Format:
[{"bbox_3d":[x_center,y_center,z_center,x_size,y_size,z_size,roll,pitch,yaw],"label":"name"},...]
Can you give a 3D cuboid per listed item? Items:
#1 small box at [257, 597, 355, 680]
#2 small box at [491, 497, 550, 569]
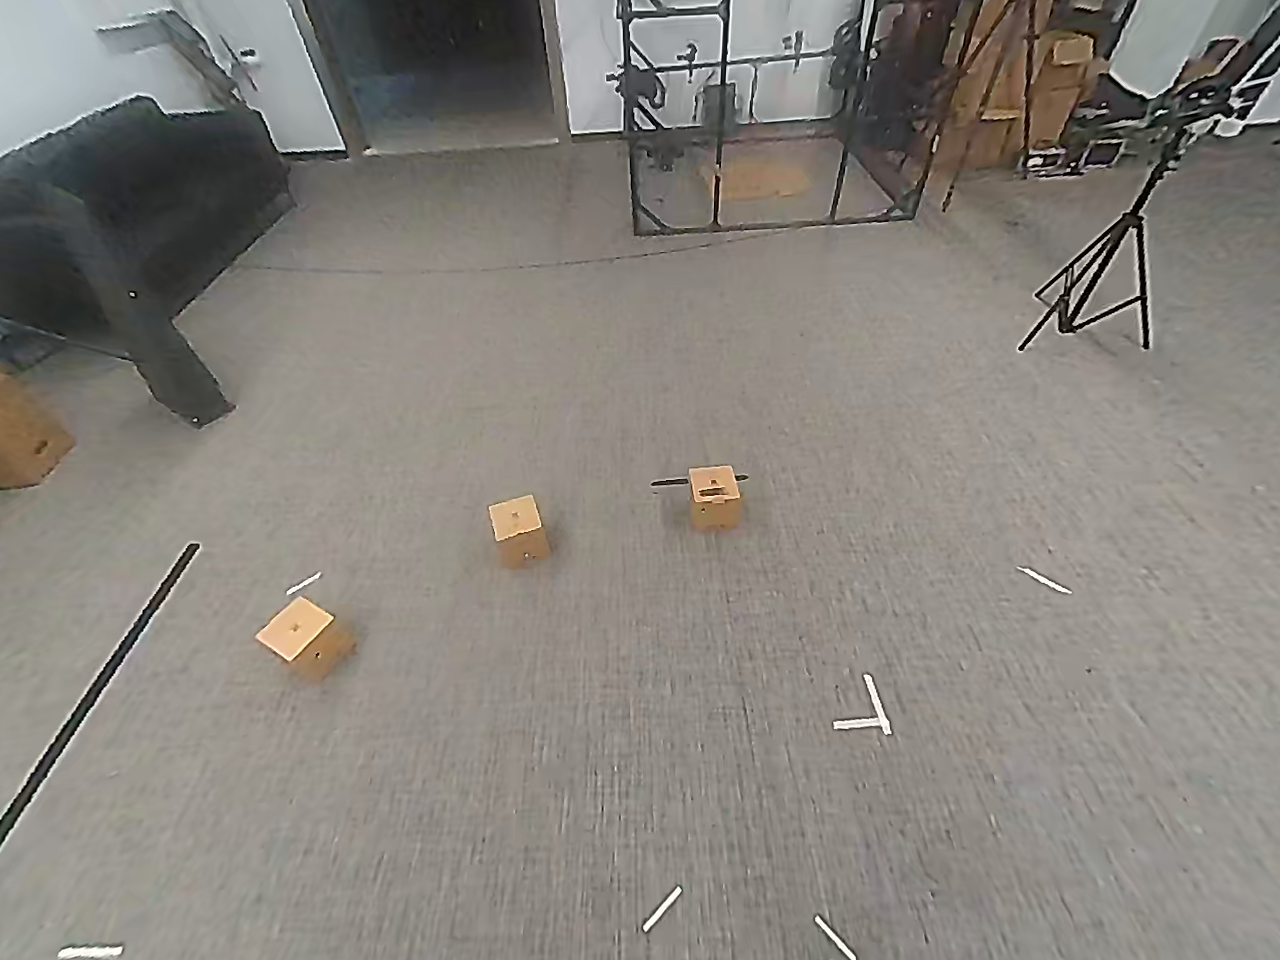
[{"bbox_3d":[-1.055,0.512,1.724,0.179,0.176,0.168,20,51,22],"label":"small box"},{"bbox_3d":[-0.438,0.195,1.991,0.168,0.176,0.179,-17,48,-12],"label":"small box"}]
